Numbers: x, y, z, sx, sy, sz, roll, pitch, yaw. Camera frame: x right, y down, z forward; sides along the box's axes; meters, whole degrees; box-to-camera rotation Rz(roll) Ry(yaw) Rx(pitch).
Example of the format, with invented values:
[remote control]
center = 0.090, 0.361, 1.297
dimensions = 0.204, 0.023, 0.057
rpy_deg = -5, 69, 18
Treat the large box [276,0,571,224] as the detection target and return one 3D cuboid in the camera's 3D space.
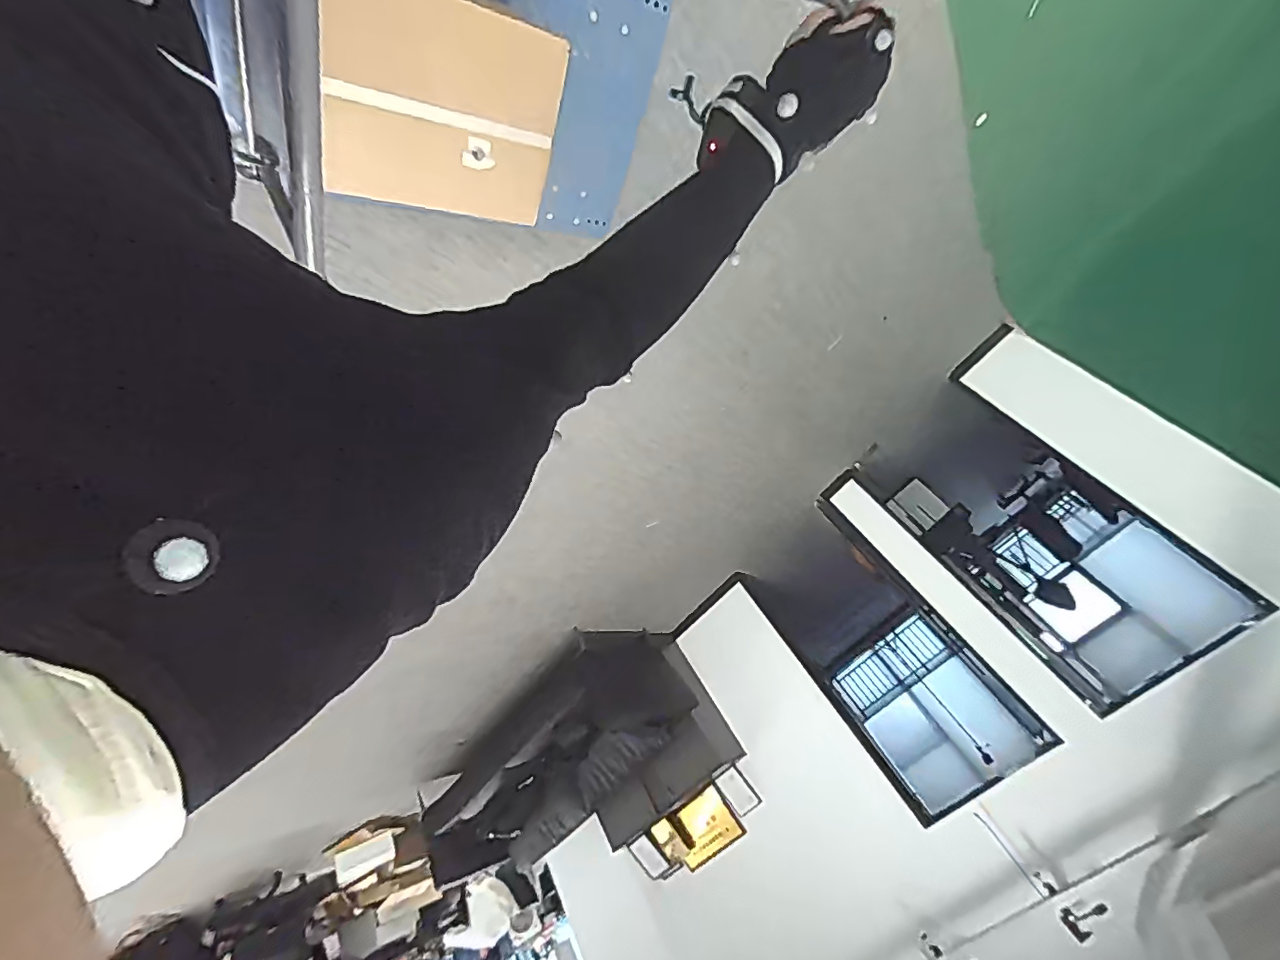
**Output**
[large box]
center = -0.399, -0.706, 0.974
dimensions = 0.408, 0.320, 0.320
rpy_deg = -8, 139, -36
